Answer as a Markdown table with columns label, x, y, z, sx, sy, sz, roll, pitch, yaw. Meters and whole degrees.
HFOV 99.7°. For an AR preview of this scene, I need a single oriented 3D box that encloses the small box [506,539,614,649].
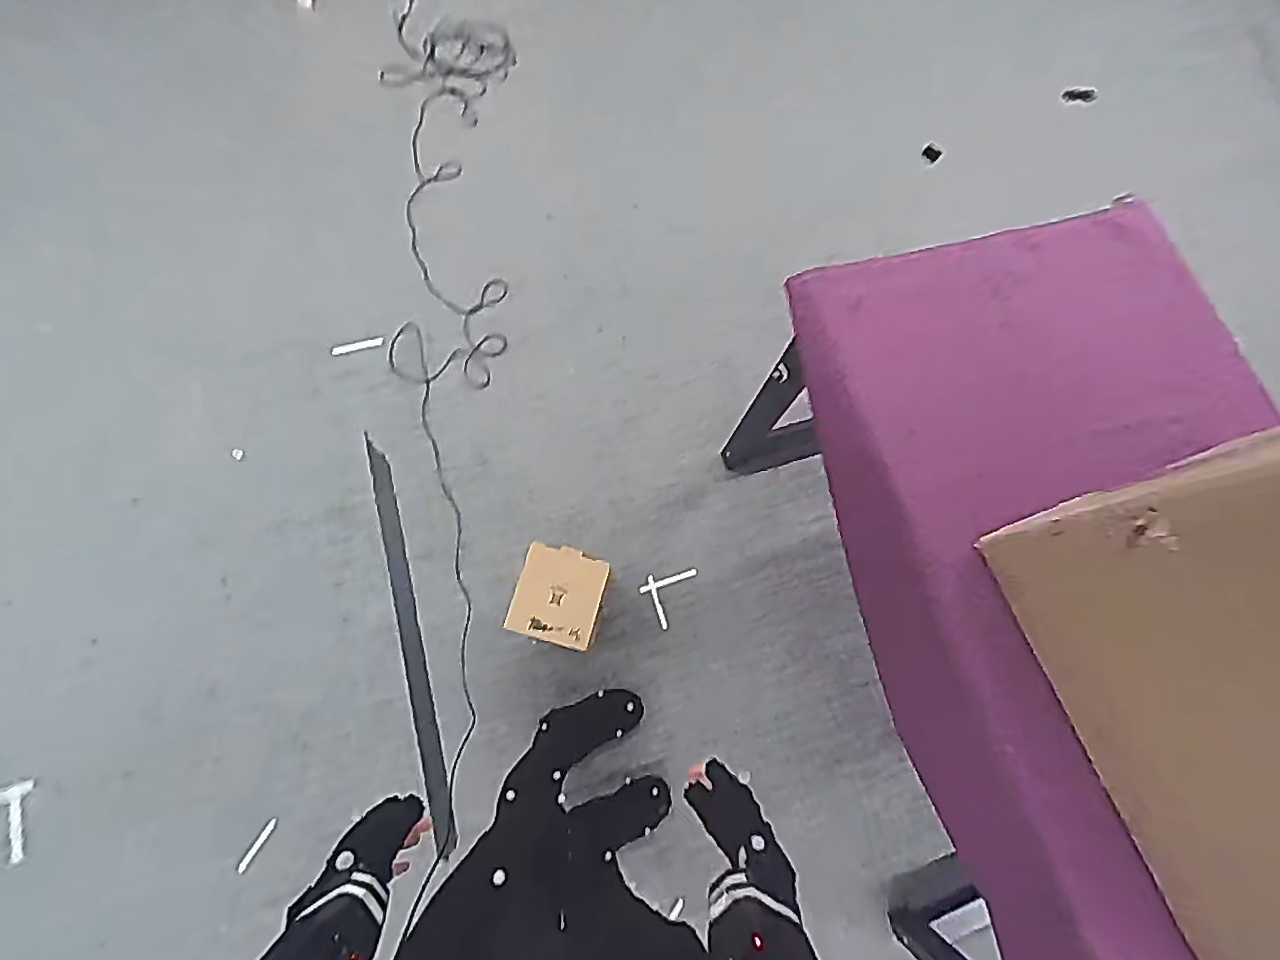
| label | x | y | z | sx | sy | sz | roll | pitch | yaw |
| --- | --- | --- | --- | --- | --- | --- | --- | --- | --- |
| small box | -0.159 | 0.239 | 1.114 | 0.168 | 0.176 | 0.179 | 16 | 73 | 1 |
